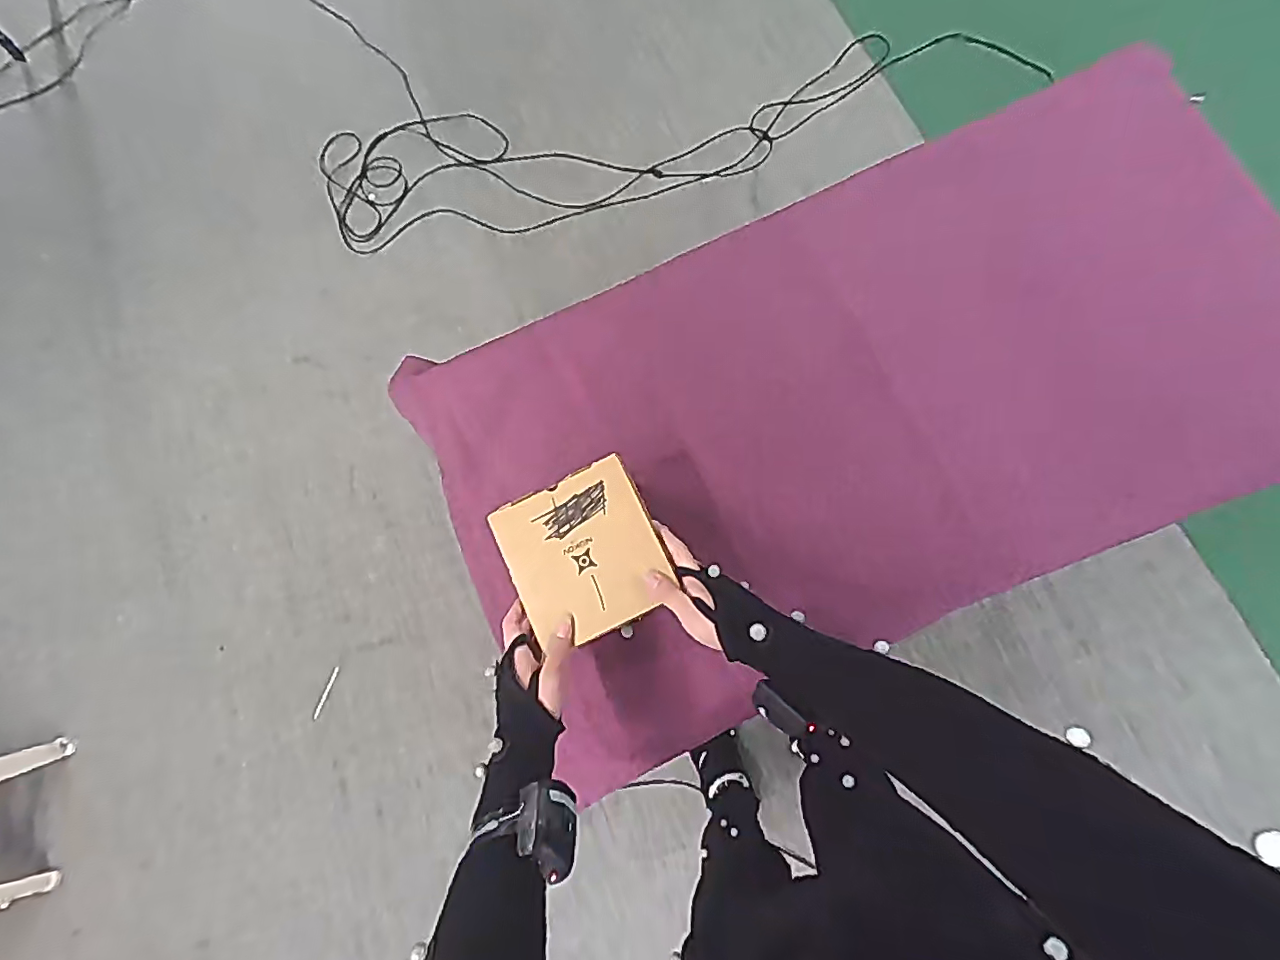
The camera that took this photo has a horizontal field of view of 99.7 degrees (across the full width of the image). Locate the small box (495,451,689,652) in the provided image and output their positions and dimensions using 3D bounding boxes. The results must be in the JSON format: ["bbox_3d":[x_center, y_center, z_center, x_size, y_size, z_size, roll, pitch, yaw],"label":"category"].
[{"bbox_3d":[-0.050,0.092,0.667,0.168,0.176,0.179,-25,78,0],"label":"small box"}]
